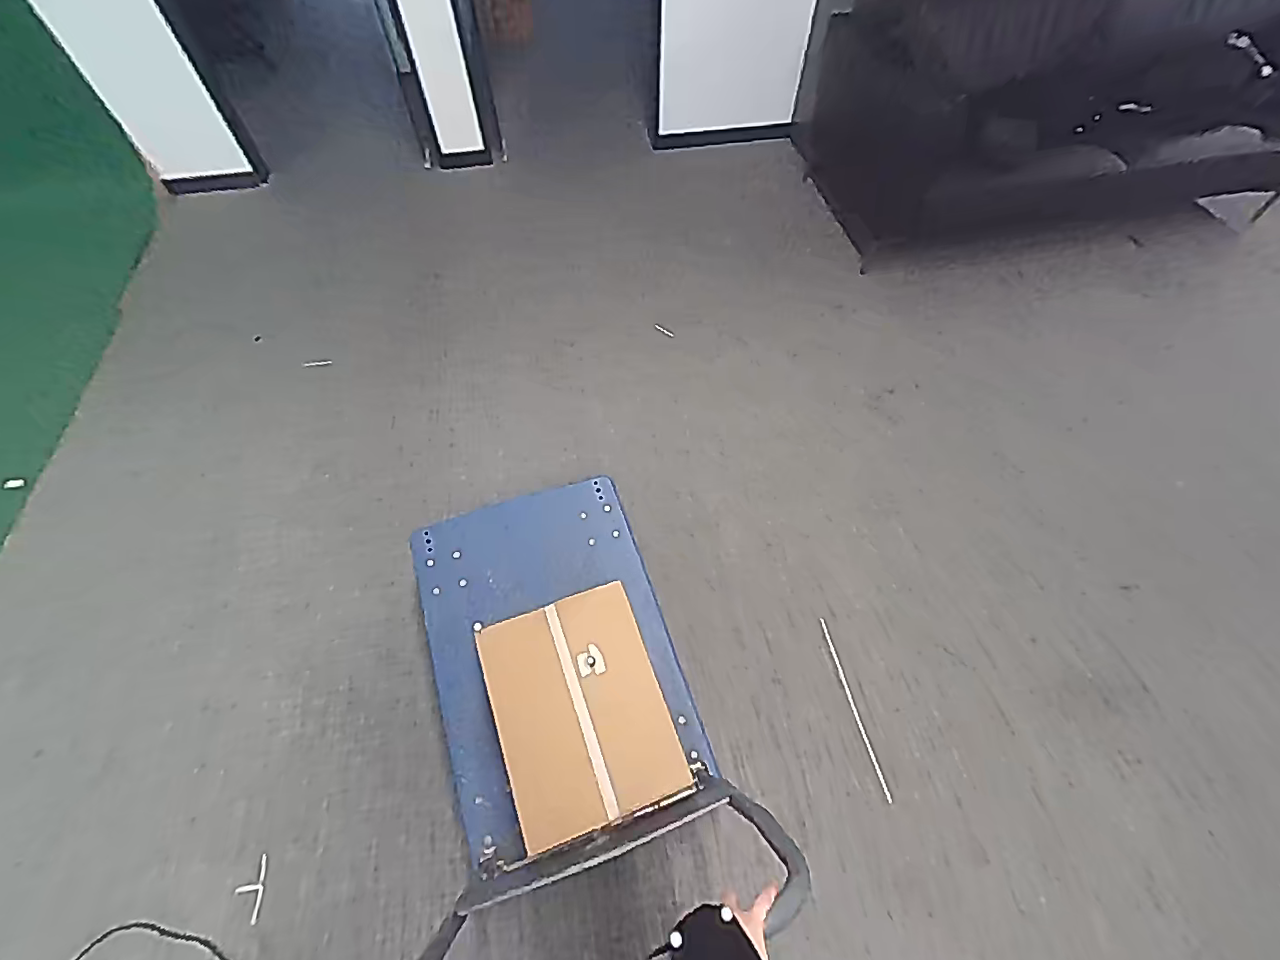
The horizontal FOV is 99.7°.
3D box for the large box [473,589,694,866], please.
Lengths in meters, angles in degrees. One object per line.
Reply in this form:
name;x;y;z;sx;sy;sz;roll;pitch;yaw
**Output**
large box;-0.120;0.503;1.145;0.320;0.320;0.408;-18;65;-12
